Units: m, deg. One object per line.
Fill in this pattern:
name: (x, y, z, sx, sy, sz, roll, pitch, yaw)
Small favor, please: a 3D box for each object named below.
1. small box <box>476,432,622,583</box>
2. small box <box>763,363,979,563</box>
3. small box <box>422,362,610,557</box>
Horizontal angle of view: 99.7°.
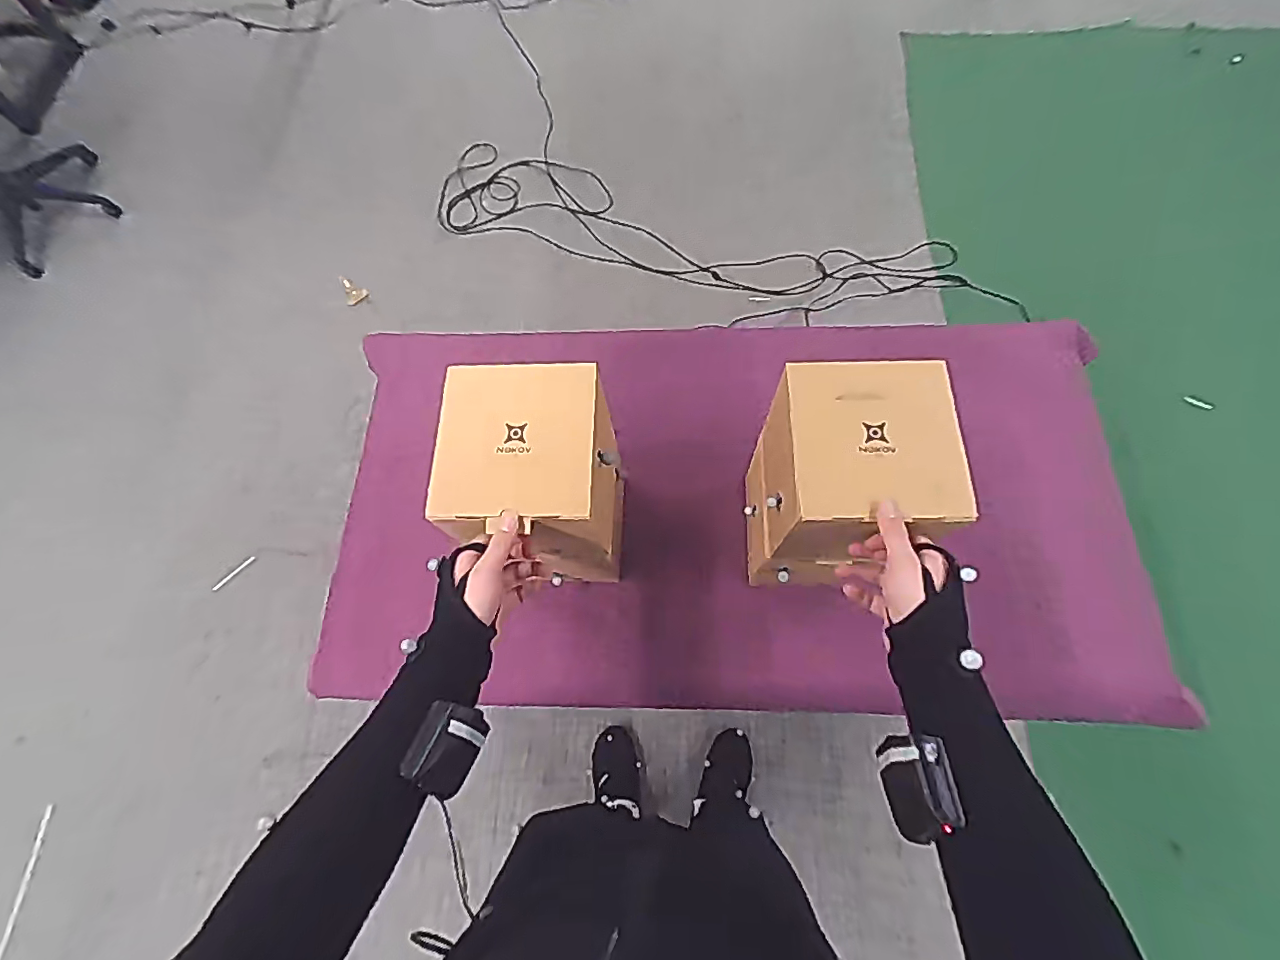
small box: (-0.116, 0.043, 0.773, 0.168, 0.176, 0.179, 1, 70, 4)
small box: (0.234, -0.009, 0.599, 0.168, 0.176, 0.179, 1, 68, 3)
small box: (-0.125, -0.016, 0.620, 0.168, 0.176, 0.179, 0, 70, 3)
